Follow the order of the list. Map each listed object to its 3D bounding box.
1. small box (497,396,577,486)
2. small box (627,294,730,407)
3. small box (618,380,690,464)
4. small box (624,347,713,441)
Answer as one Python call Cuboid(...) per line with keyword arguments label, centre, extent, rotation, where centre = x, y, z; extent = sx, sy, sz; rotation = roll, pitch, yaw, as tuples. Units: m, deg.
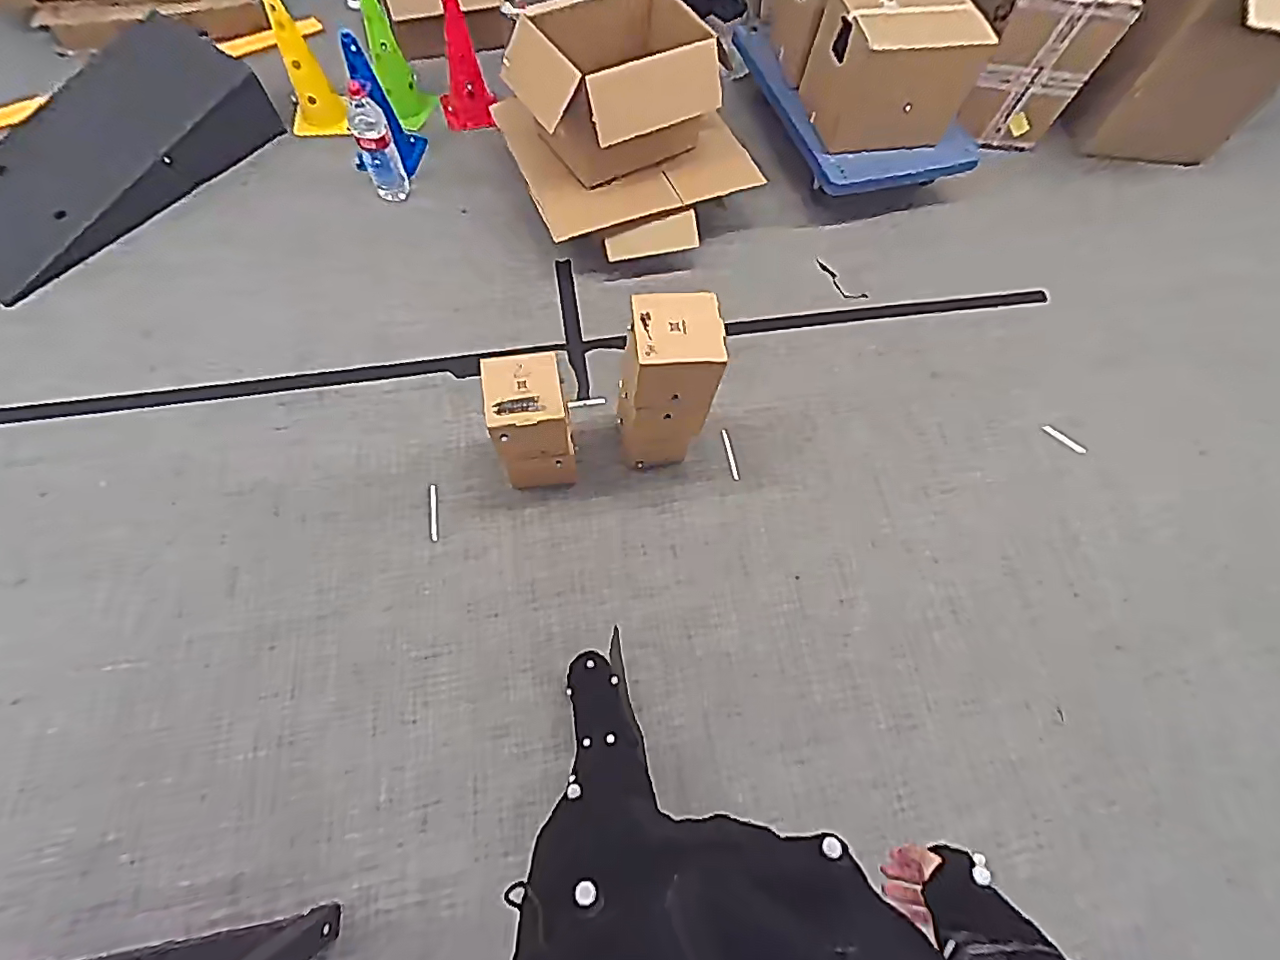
Cuboid(label="small box", centre=(-0.258, -0.093, 1.377), extent=(0.179, 0.176, 0.168), rotation=(-7, 68, -8))
Cuboid(label="small box", centre=(0.072, -0.261, 1.118), extent=(0.179, 0.176, 0.168), rotation=(-2, 68, -7))
Cuboid(label="small box", centre=(0.036, -0.153, 1.427), extent=(0.168, 0.176, 0.179), rotation=(-8, 68, -9))
Cuboid(label="small box", centre=(0.058, -0.201, 1.270), extent=(0.179, 0.176, 0.168), rotation=(-6, 69, -8))
